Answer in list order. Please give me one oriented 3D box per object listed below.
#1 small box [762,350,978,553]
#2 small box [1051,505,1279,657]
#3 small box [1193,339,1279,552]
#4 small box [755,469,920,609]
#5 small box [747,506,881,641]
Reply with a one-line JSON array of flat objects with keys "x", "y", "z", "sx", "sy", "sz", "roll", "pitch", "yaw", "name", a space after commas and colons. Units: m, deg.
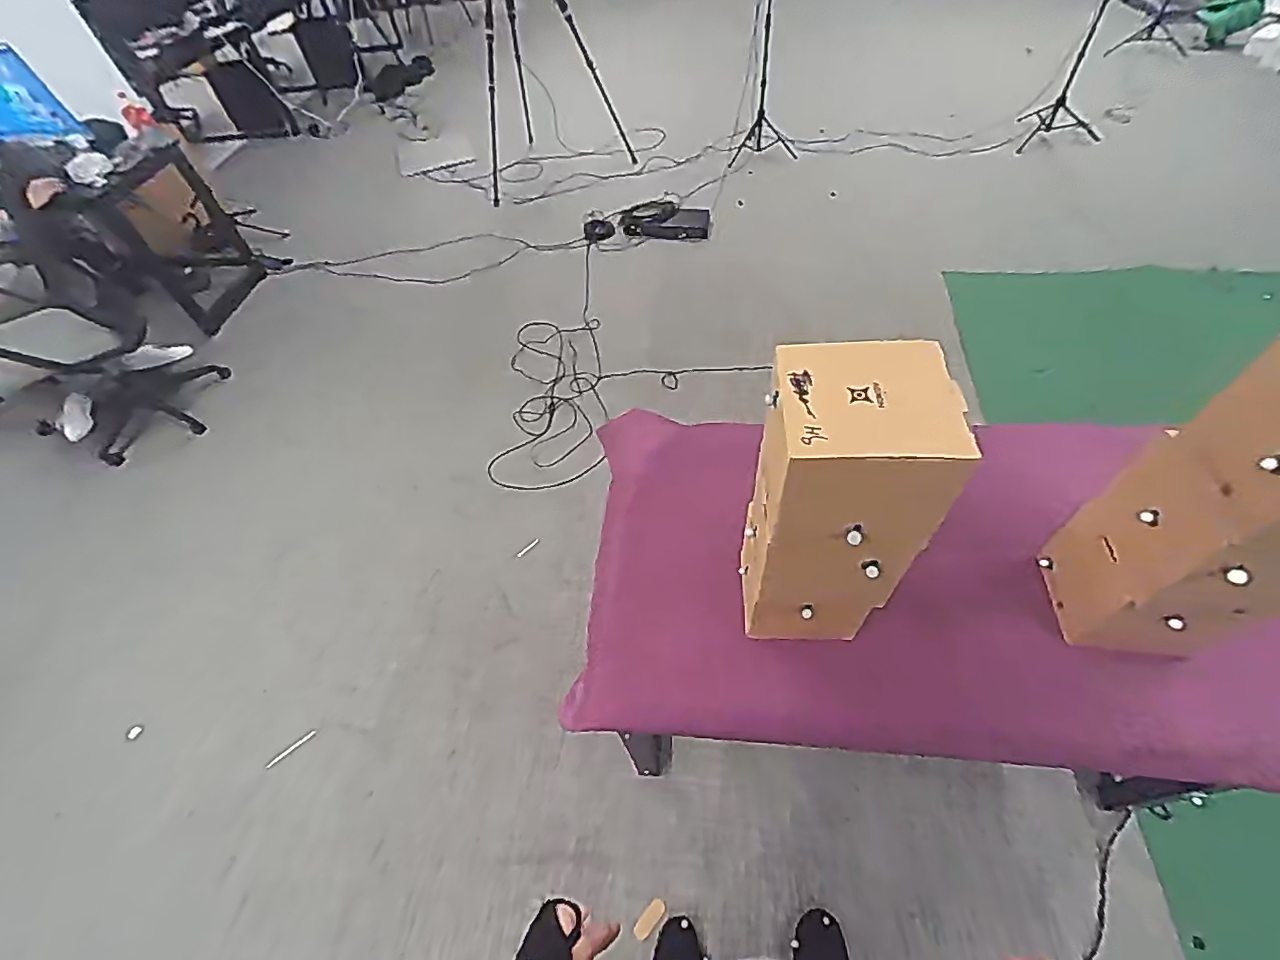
[{"x": 0.239, "y": -0.028, "z": 0.614, "sx": 0.179, "sy": 0.176, "sz": 0.168, "roll": 1, "pitch": 53, "yaw": 7, "name": "small box"}, {"x": 0.764, "y": 0.155, "z": 0.817, "sx": 0.179, "sy": 0.176, "sz": 0.168, "roll": 3, "pitch": 53, "yaw": 10, "name": "small box"}, {"x": 0.730, "y": -0.028, "z": 0.548, "sx": 0.179, "sy": 0.176, "sz": 0.168, "roll": 5, "pitch": 54, "yaw": 11, "name": "small box"}, {"x": 0.255, "y": 0.068, "z": 0.745, "sx": 0.179, "sy": 0.176, "sz": 0.168, "roll": 1, "pitch": 53, "yaw": 8, "name": "small box"}, {"x": 0.271, "y": 0.155, "z": 0.885, "sx": 0.179, "sy": 0.176, "sz": 0.168, "roll": -1, "pitch": 53, "yaw": 8, "name": "small box"}]
